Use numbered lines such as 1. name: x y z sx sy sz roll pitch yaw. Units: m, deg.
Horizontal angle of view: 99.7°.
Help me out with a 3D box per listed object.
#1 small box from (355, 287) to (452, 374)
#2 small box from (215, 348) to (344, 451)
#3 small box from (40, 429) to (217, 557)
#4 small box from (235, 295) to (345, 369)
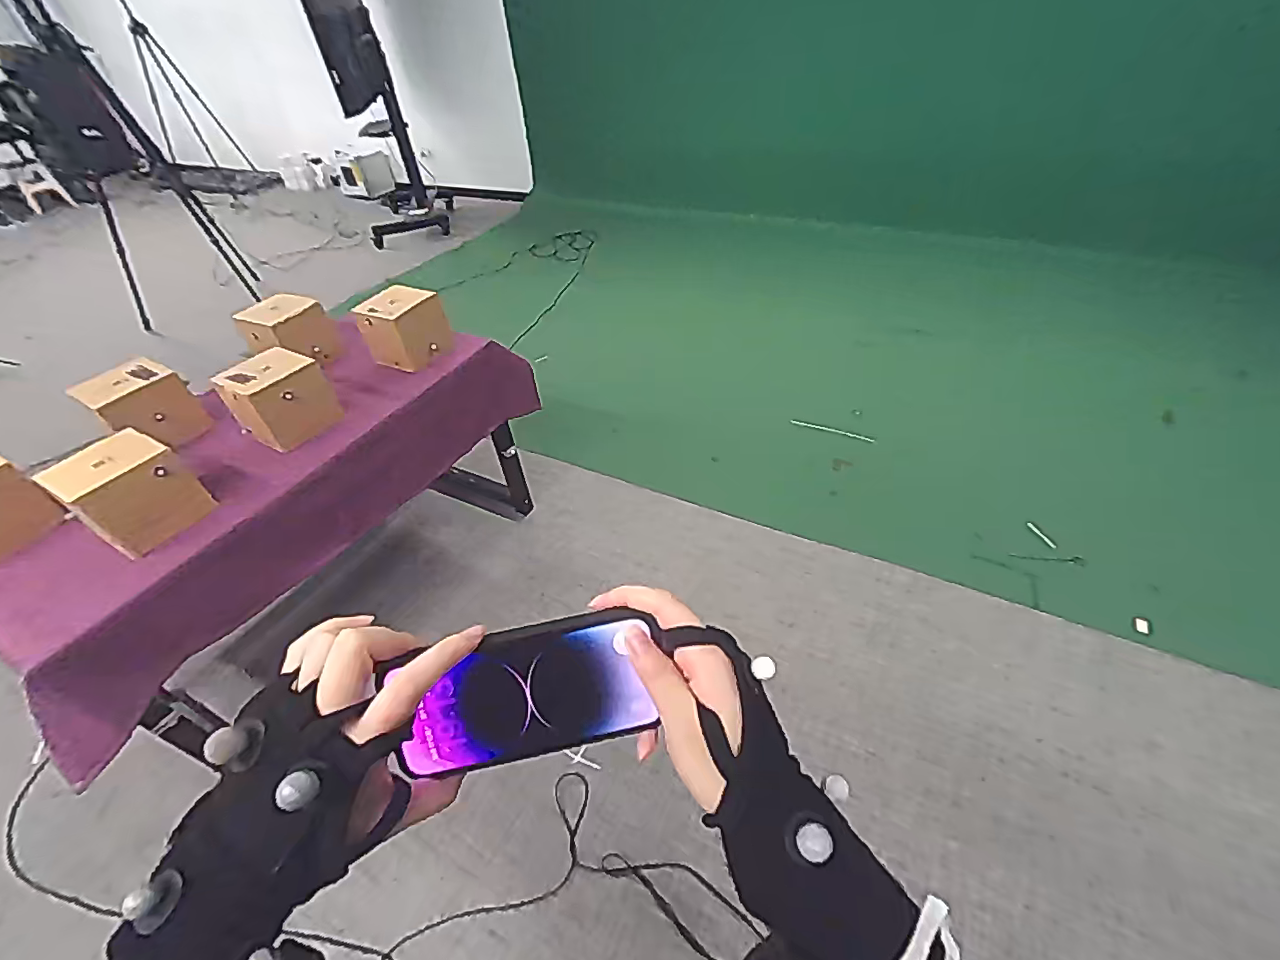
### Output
1. small box: -0.670 -0.433 1.562 0.168 0.176 0.179 17 47 23
2. small box: -0.874 -0.196 1.328 0.168 0.176 0.179 20 48 25
3. small box: -1.029 0.028 1.103 0.168 0.176 0.179 19 47 24
4. small box: -1.015 -0.419 1.581 0.179 0.176 0.168 16 47 21
